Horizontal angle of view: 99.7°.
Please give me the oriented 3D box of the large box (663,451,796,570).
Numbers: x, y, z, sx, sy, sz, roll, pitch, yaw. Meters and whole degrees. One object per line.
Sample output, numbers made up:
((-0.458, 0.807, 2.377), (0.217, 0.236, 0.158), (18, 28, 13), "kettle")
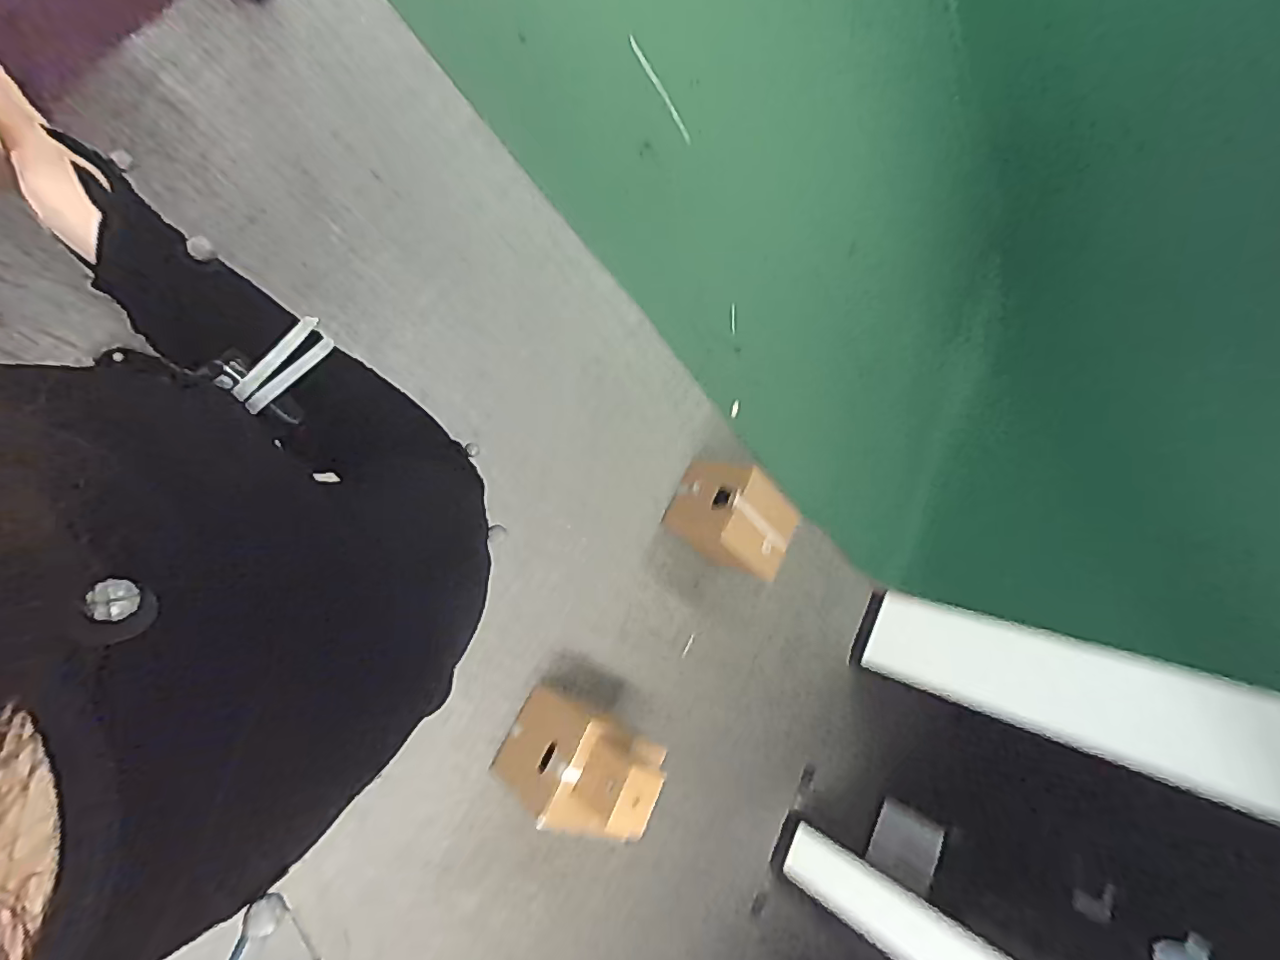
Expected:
((0.364, 0.120, 2.191), (0.408, 0.320, 0.320), (41, 70, -39), "large box")

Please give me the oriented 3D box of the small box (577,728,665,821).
((-0.064, 0.877, 1.618), (0.168, 0.176, 0.179), (40, 68, -38), "small box")
